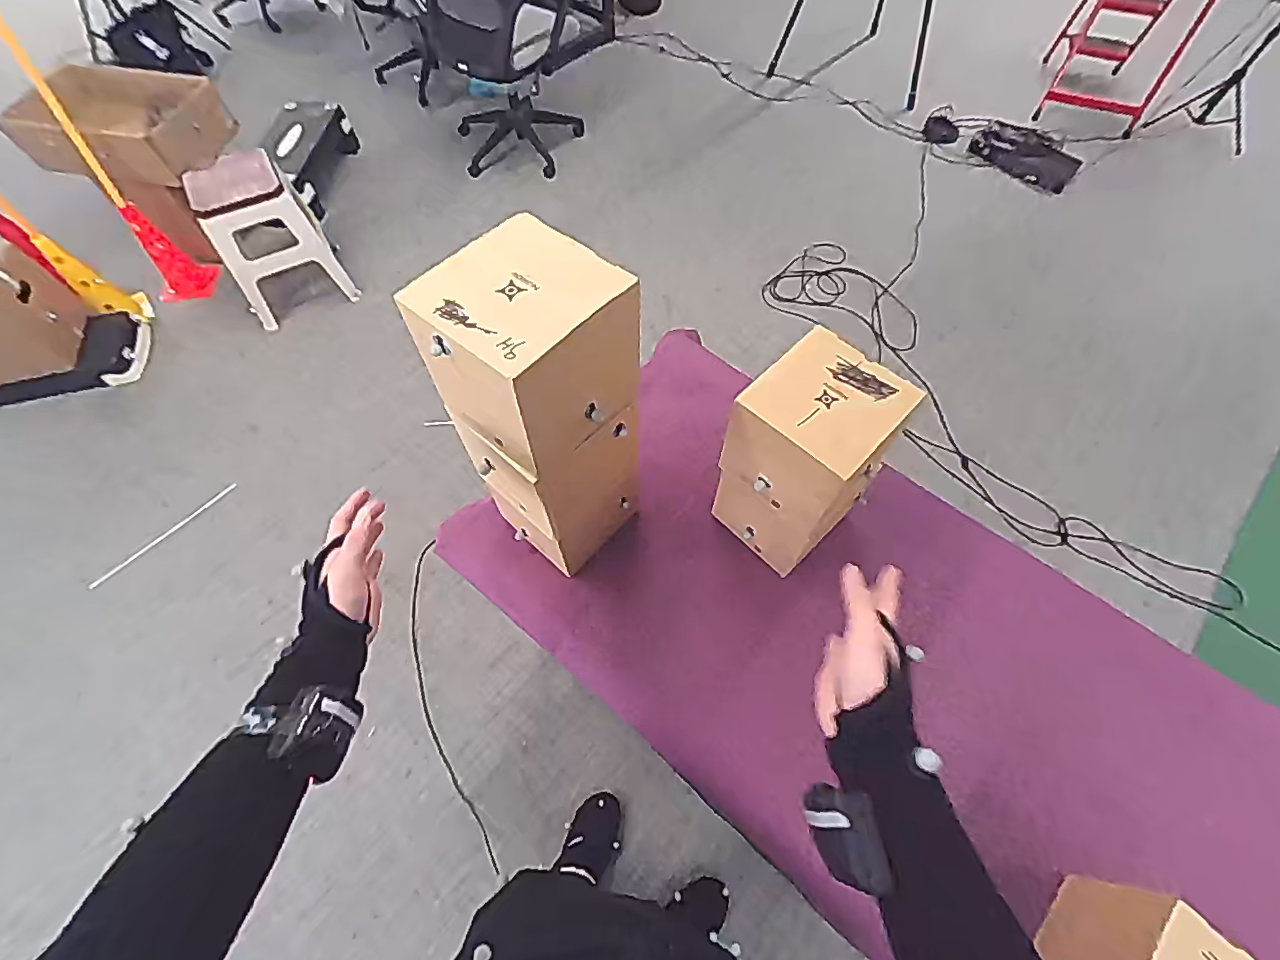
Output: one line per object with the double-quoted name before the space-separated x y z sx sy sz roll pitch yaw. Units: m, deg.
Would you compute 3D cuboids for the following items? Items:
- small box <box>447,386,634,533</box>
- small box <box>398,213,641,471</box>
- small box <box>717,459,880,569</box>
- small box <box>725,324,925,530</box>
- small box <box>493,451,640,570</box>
"small box" -0.120 -0.060 0.730 0.168 0.176 0.179 38 66 20
"small box" -0.117 -0.146 0.589 0.168 0.176 0.179 36 65 19
"small box" 0.241 0.012 0.872 0.179 0.176 0.168 -40 68 -18
"small box" 0.232 -0.066 0.728 0.168 0.176 0.179 41 70 20
"small box" -0.118 0.012 0.875 0.168 0.176 0.179 38 67 19
